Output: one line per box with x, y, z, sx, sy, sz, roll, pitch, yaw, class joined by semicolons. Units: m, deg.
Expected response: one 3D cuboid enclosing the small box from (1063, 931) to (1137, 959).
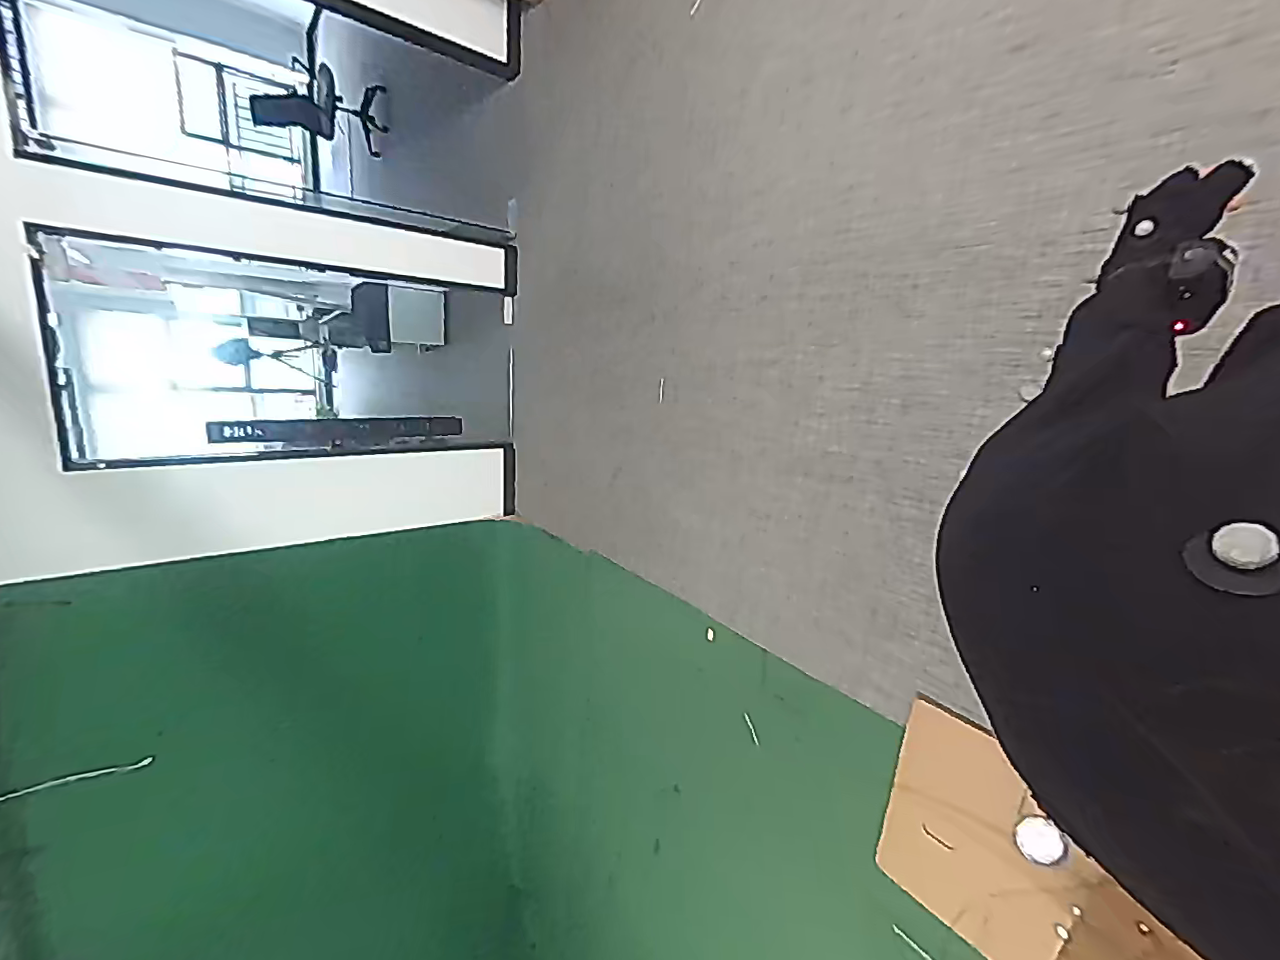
0.899;1.018;1.029;0.179;0.176;0.168;24;113;46;small box
